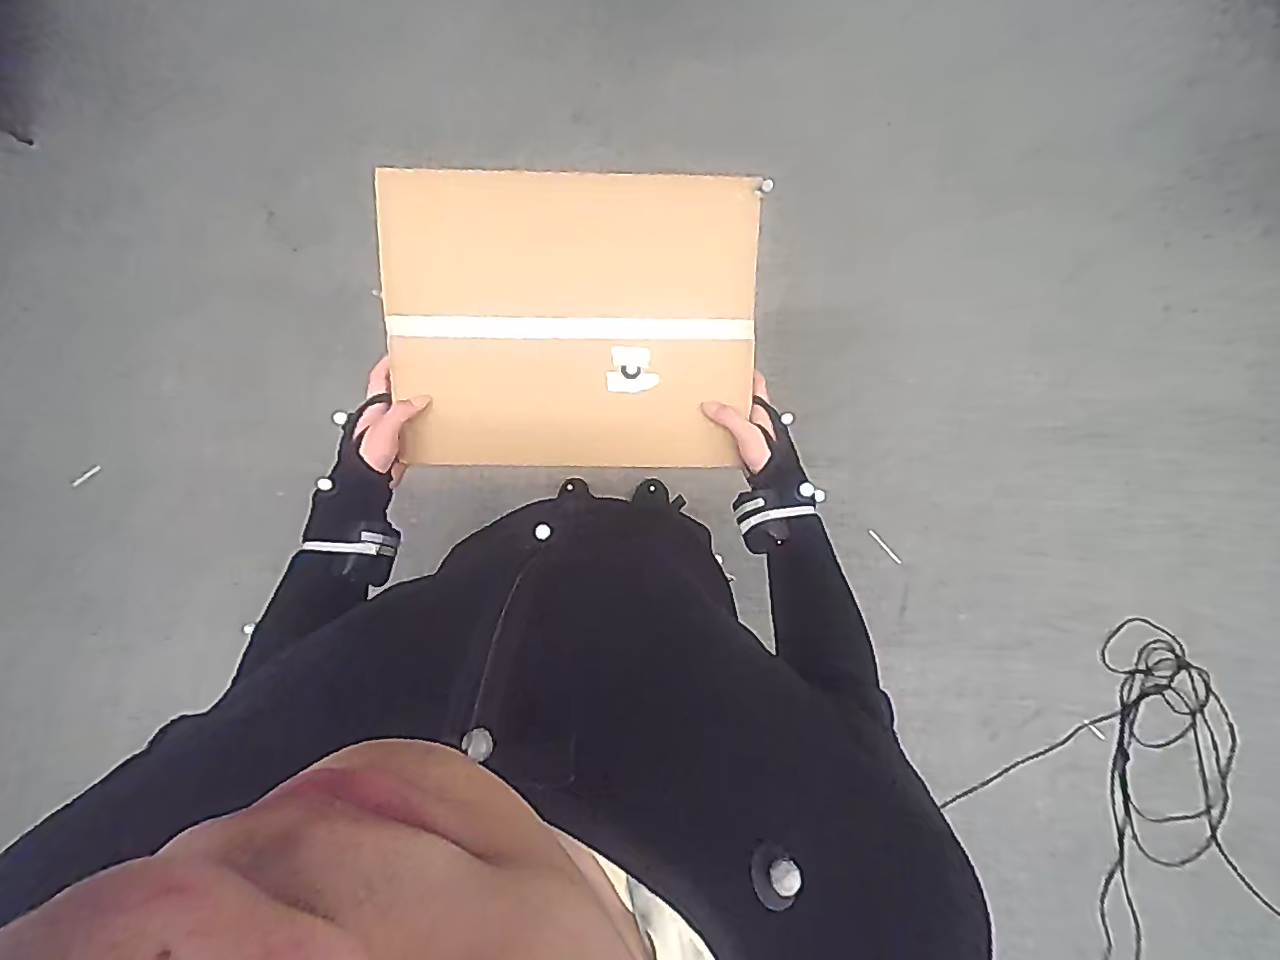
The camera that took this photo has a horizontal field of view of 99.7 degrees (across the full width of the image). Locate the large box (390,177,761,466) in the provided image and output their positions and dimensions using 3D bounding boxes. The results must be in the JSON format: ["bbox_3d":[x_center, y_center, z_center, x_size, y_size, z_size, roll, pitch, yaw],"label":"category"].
[{"bbox_3d":[-0.072,-0.200,0.752,0.408,0.320,0.320,0,102,-2],"label":"large box"}]

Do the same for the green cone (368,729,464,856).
[{"bbox_3d":[-0.636,0.863,1.460,0.200,0.368,0.202,9,91,-2],"label":"green cone"}]
